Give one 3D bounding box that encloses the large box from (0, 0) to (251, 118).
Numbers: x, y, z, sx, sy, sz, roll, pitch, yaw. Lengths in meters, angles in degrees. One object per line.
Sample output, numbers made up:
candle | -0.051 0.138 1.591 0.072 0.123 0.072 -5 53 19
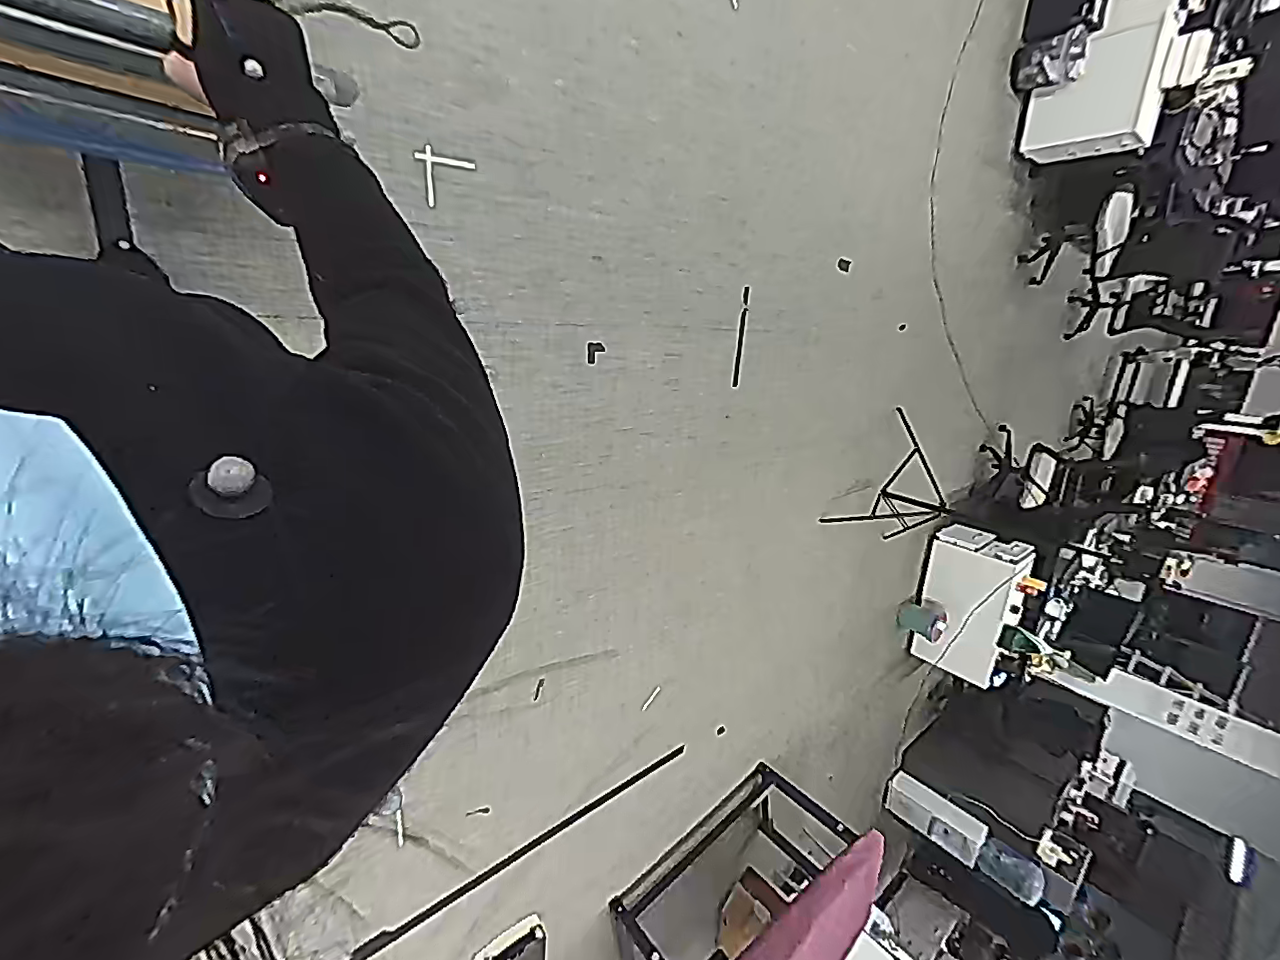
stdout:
large box | -0.772 -0.720 0.680 0.408 0.320 0.320 -8 111 -41
